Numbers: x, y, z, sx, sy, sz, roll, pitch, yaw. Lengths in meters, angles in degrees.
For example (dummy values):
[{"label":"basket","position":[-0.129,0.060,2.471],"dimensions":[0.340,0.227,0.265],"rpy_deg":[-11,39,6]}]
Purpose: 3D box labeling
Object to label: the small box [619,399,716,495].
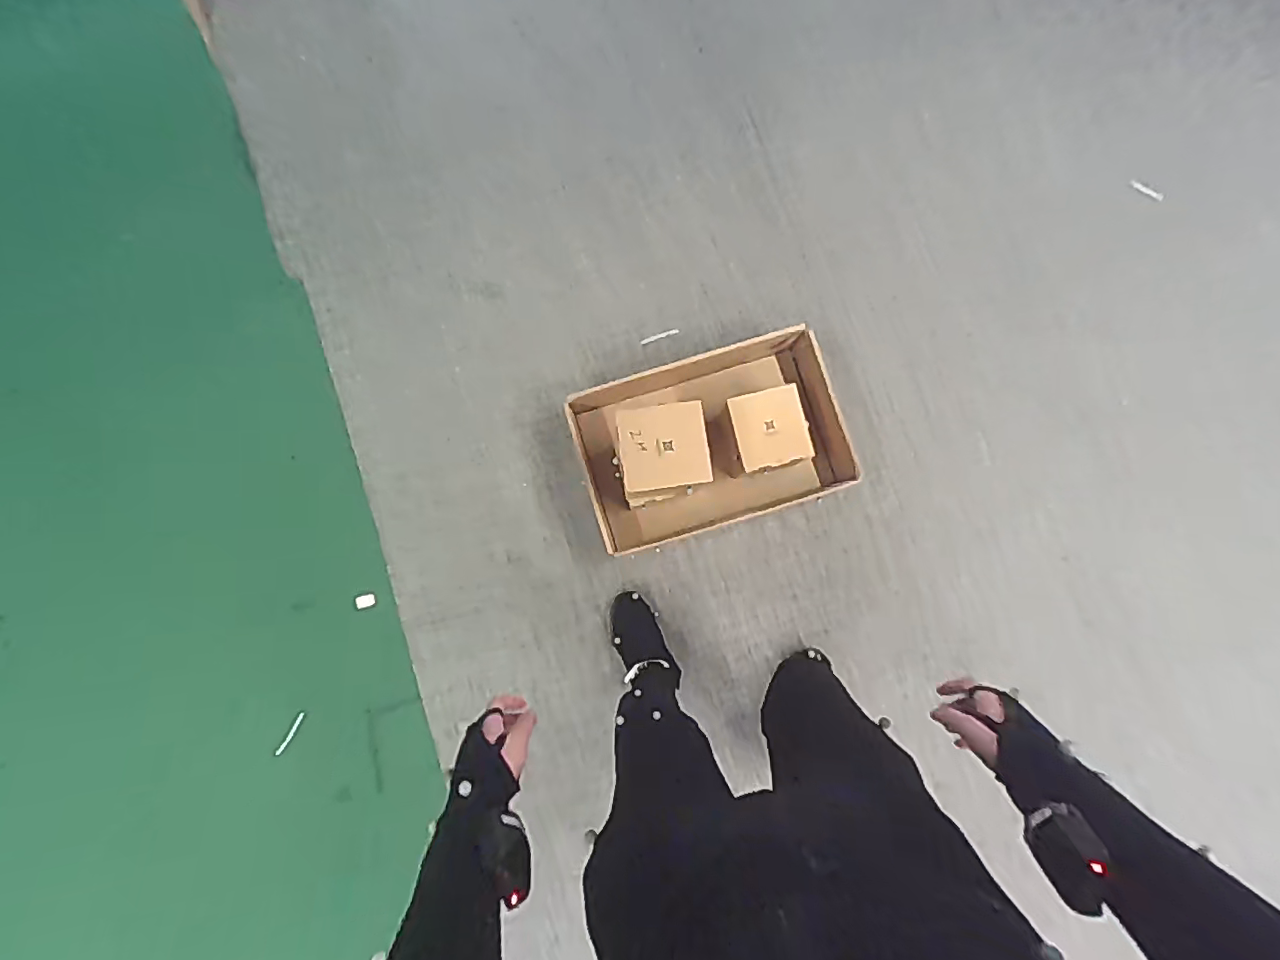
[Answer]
[{"label":"small box","position":[0.052,-0.063,1.136],"dimensions":[0.179,0.176,0.168],"rpy_deg":[-8,83,-1]}]
